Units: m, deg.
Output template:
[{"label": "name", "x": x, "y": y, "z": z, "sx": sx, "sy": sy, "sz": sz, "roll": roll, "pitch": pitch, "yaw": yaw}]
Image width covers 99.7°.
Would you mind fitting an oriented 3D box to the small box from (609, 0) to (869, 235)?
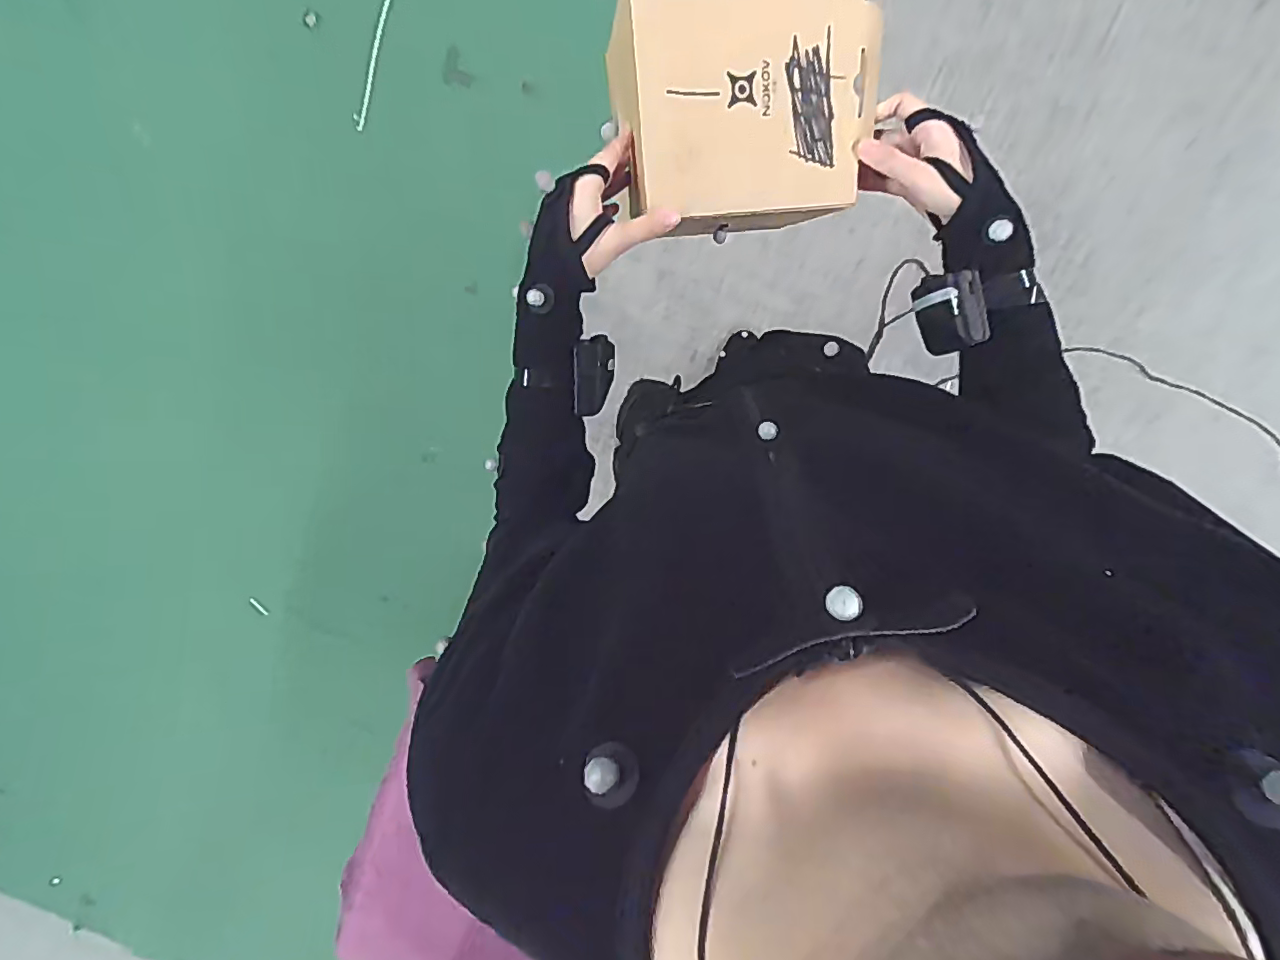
[{"label": "small box", "x": 0.073, "y": -0.316, "z": 0.472, "sx": 0.179, "sy": 0.176, "sz": 0.168, "roll": -7, "pitch": 109, "yaw": -5}]
